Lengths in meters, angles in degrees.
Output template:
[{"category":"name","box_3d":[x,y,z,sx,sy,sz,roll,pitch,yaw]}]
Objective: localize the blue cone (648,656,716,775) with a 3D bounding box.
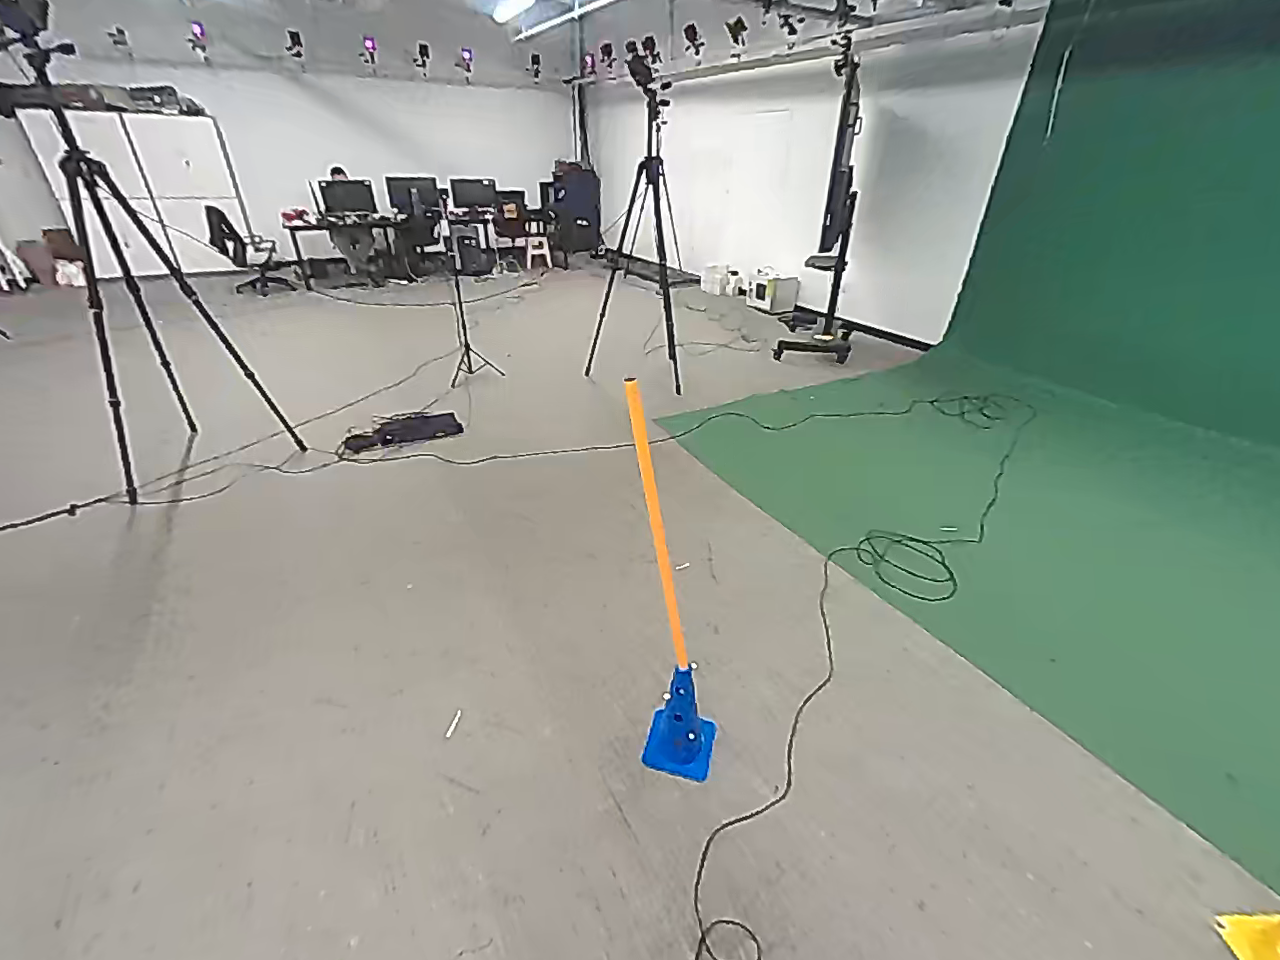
[{"category":"blue cone","box_3d":[0.125,0.654,1.552,0.193,0.380,0.192,7,32,13]}]
